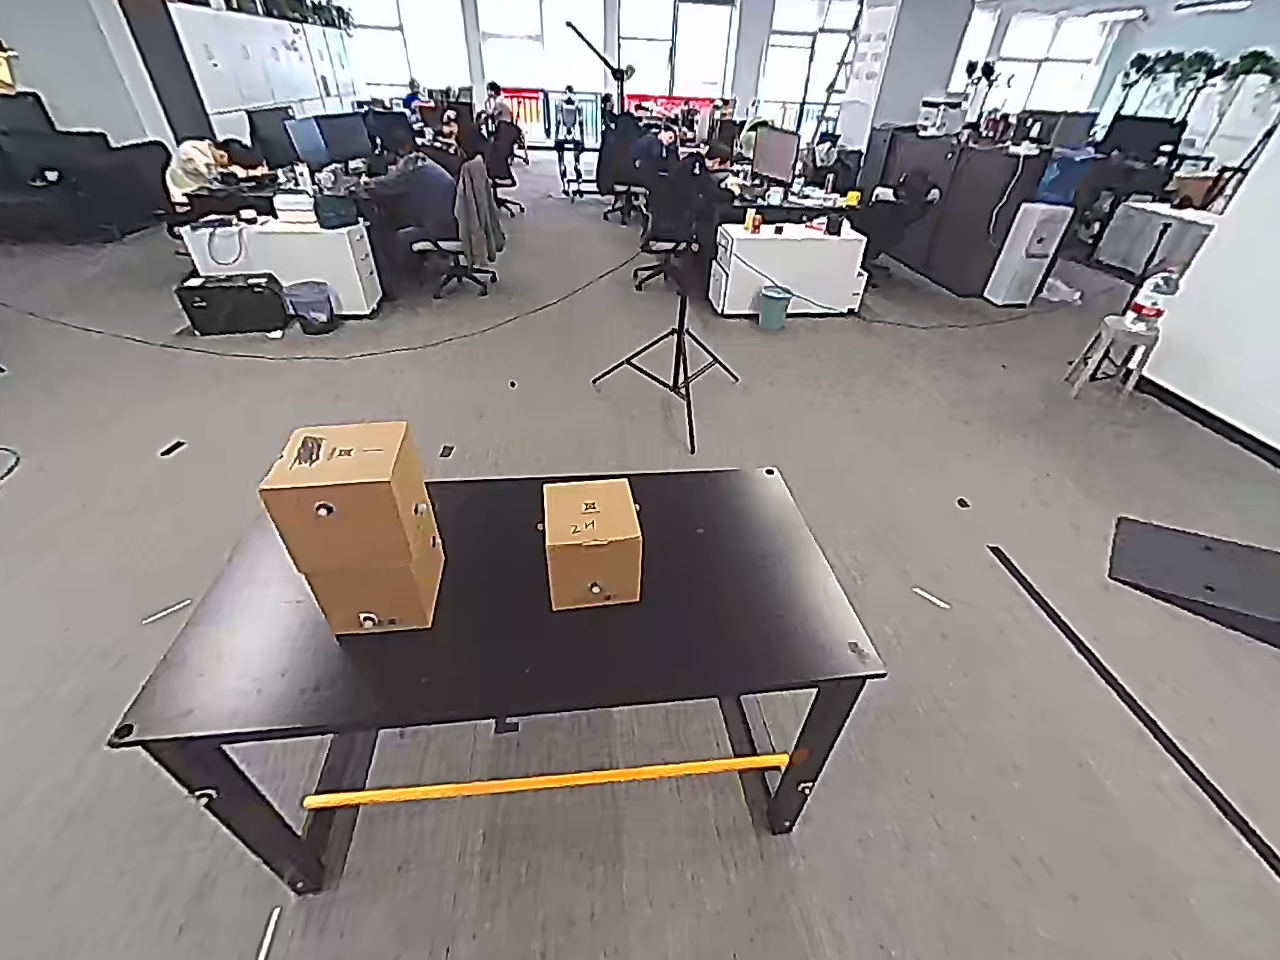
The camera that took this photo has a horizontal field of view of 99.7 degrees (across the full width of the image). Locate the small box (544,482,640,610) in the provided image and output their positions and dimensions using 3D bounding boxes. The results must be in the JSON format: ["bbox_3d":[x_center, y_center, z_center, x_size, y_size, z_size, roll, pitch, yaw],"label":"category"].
[{"bbox_3d":[-0.096,0.125,1.039,0.168,0.176,0.179,-5,37,-8],"label":"small box"}]

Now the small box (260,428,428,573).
[{"bbox_3d":[-0.459,0.033,0.872,0.179,0.176,0.168,-5,37,-9],"label":"small box"}]

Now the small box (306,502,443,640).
[{"bbox_3d":[-0.462,0.161,0.976,0.168,0.176,0.179,-5,38,-7],"label":"small box"}]
